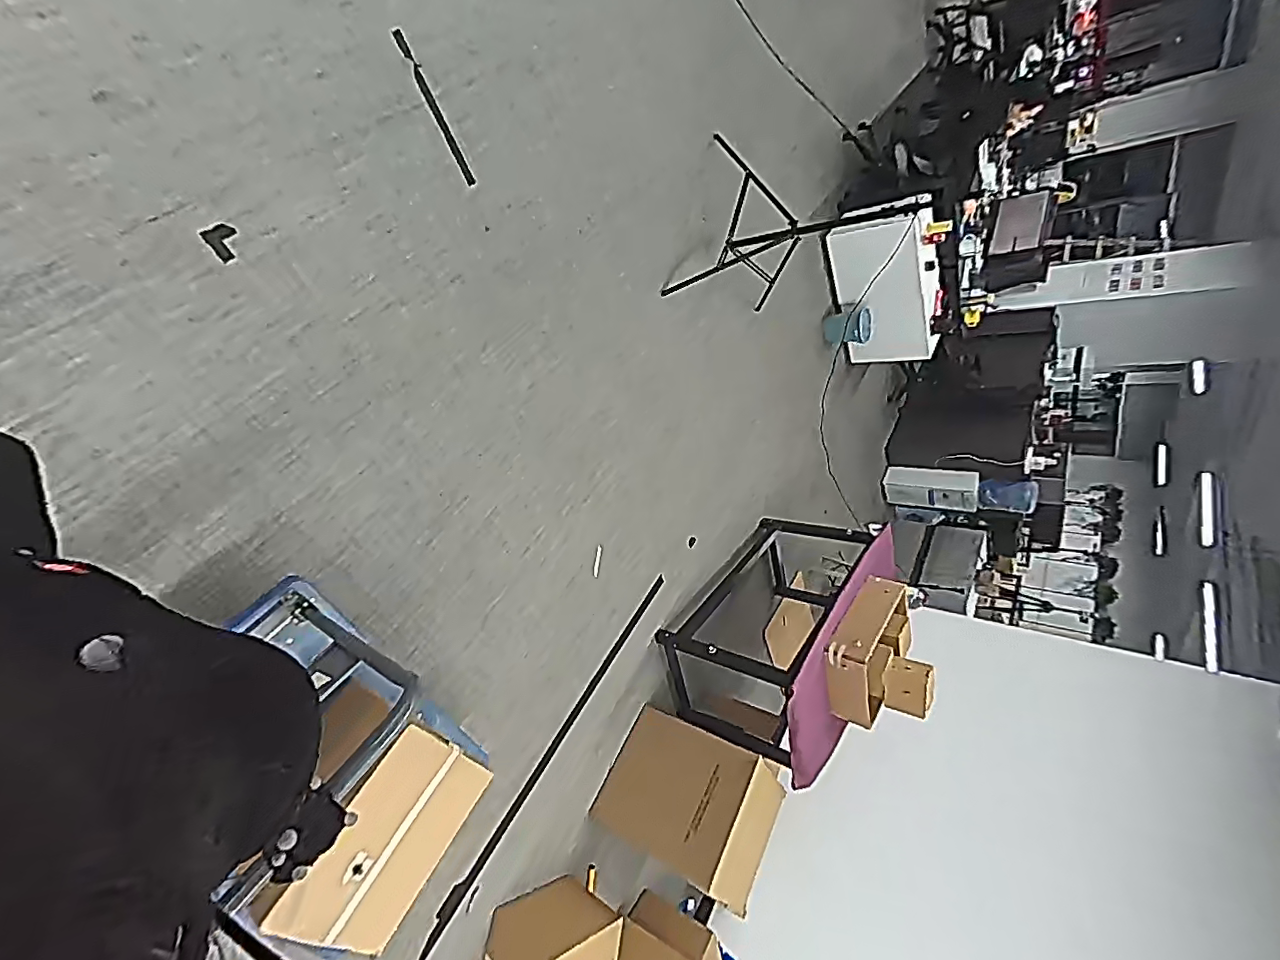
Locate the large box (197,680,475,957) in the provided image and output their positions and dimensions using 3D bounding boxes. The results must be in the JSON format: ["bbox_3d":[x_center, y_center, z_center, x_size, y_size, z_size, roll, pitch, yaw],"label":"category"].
[{"bbox_3d":[-0.673,0.745,1.236,0.408,0.320,0.320,-56,133,-29],"label":"large box"}]
